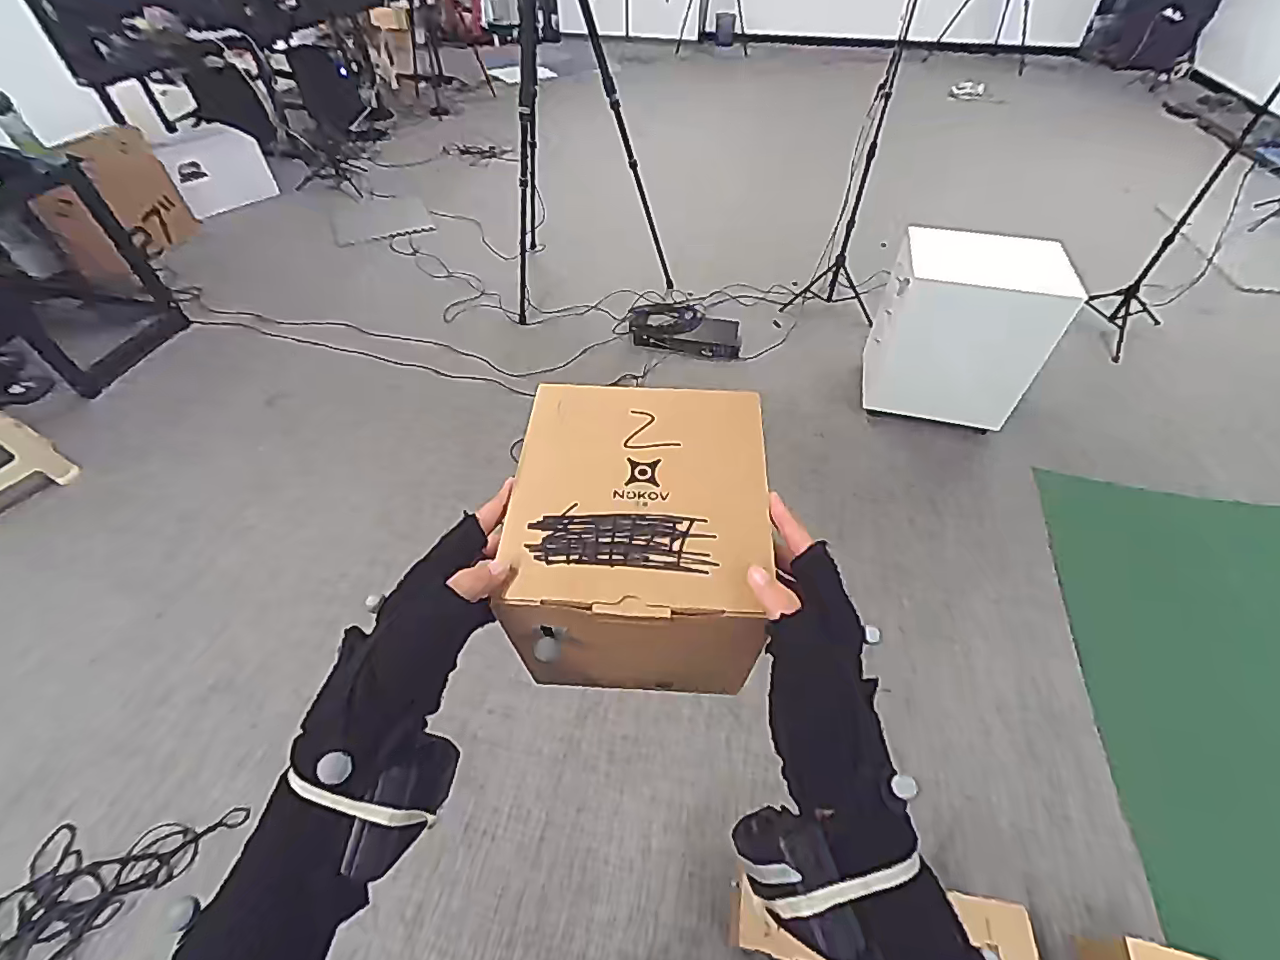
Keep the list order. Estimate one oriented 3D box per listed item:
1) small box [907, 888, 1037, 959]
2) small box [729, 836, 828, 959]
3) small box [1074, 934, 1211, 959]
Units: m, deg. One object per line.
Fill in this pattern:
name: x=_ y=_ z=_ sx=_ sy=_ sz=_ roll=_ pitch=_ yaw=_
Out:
small box: x=0.644 y=0.925 z=1.053 sx=0.168 sy=0.176 sz=0.179 roll=7 pitch=48 yaw=5
small box: x=0.278 y=0.859 z=1.104 sx=0.168 sy=0.176 sz=0.179 roll=8 pitch=50 yaw=8
small box: x=0.959 y=0.983 z=1.007 sx=0.168 sy=0.176 sz=0.179 roll=11 pitch=50 yaw=10
